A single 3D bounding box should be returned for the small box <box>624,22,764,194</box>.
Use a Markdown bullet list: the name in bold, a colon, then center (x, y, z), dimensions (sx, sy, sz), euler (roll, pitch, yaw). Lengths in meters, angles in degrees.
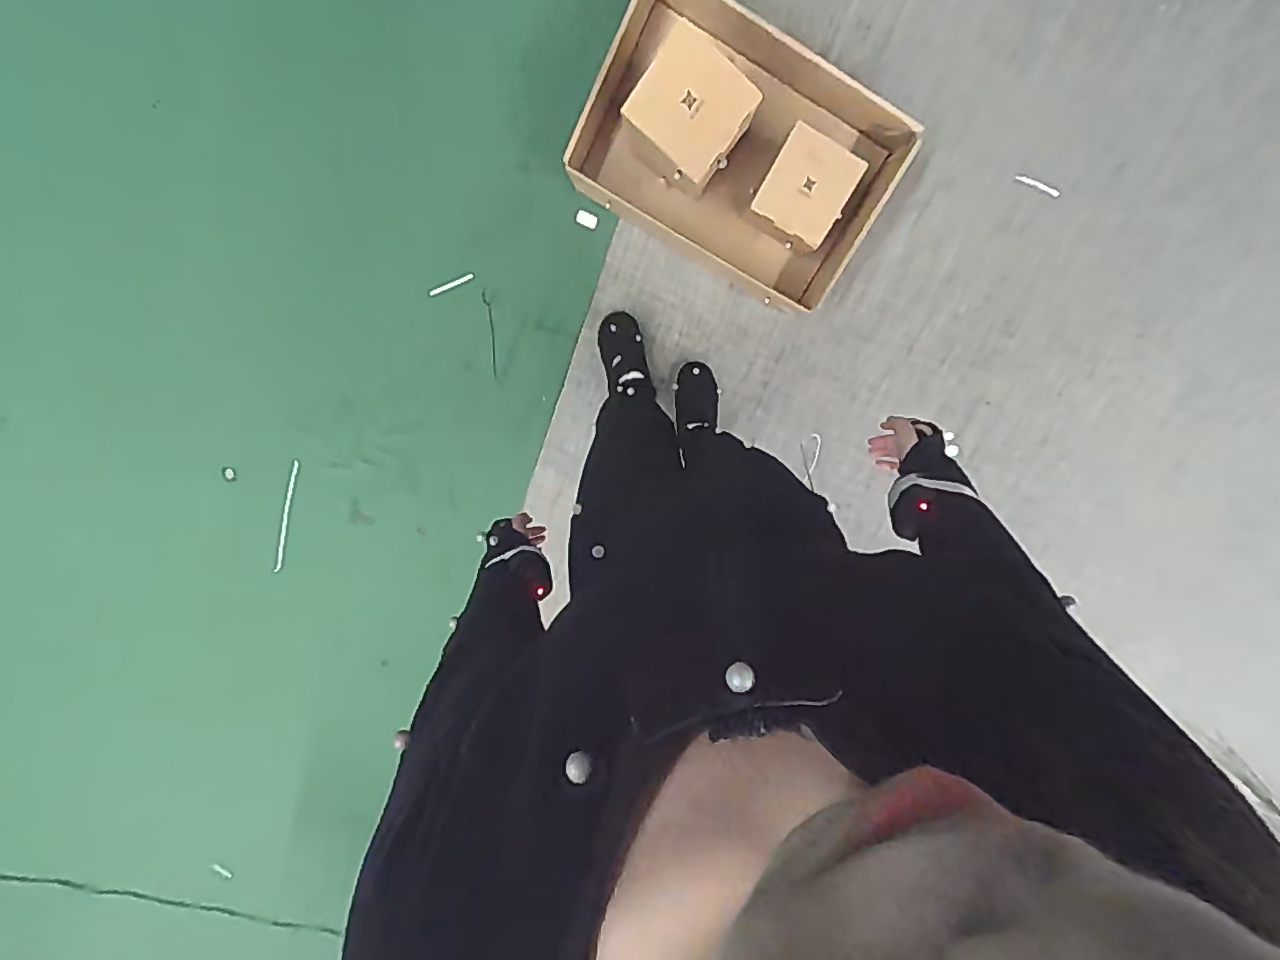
- **small box**: center (0.090, -0.643, 0.967), dimensions (0.179, 0.176, 0.168), euler (37, 107, -11)
